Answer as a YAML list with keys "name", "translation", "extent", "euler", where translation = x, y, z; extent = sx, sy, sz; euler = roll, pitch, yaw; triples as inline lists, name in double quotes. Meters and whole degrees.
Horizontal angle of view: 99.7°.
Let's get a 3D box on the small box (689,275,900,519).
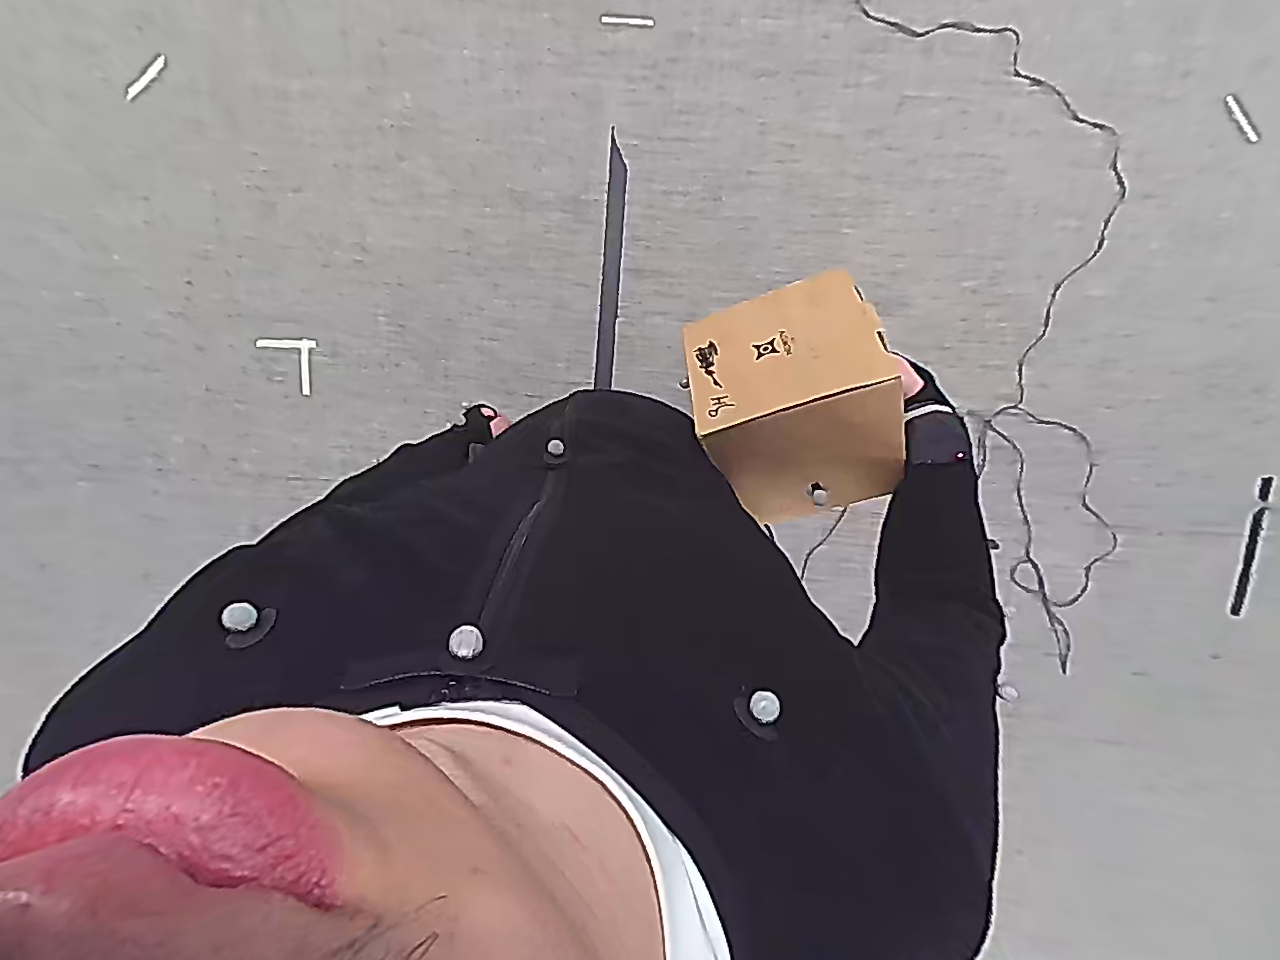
- name: "small box"
  translation: [0.166, -0.081, 0.587]
  extent: [0.179, 0.168, 0.176]
  euler: [-16, 139, 16]
